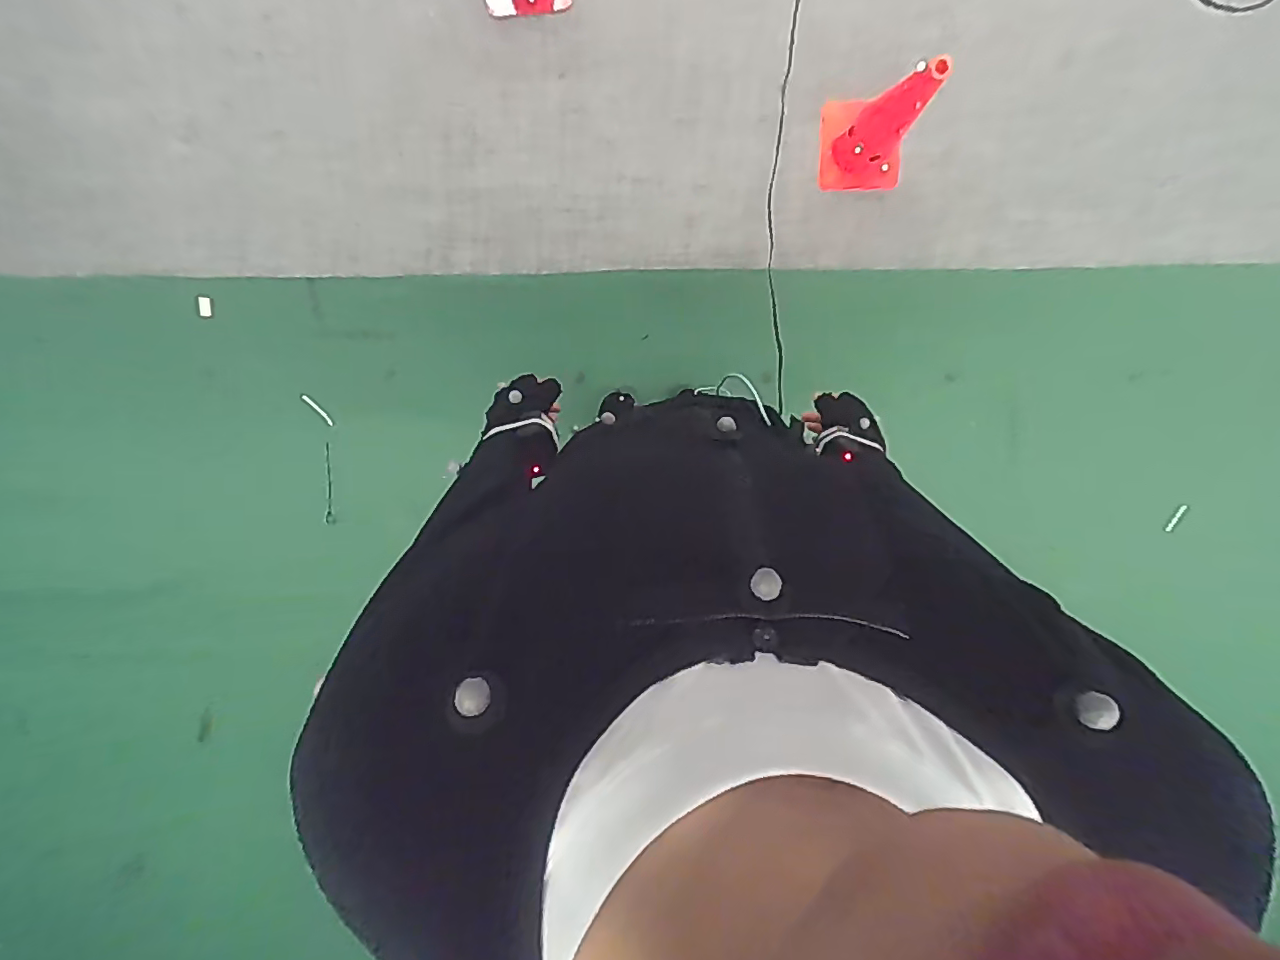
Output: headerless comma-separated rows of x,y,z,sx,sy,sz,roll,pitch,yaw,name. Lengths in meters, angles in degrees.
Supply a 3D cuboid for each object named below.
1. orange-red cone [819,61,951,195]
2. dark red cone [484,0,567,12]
0.549,-0.787,1.169,0.198,0.360,0.199,0,100,-2,orange-red cone
-0.262,-1.148,1.064,0.202,0.394,0.201,-6,102,0,dark red cone
